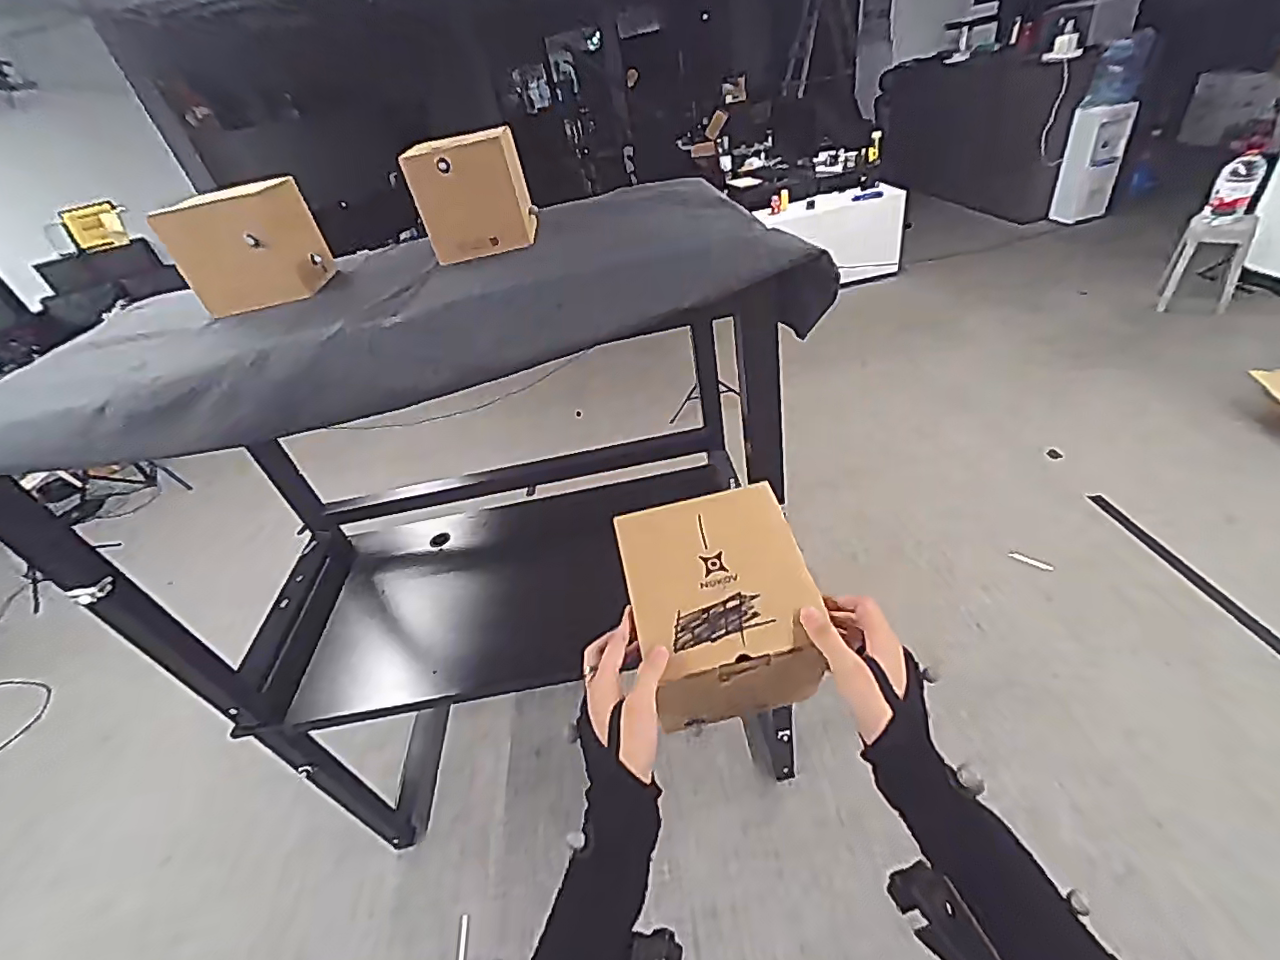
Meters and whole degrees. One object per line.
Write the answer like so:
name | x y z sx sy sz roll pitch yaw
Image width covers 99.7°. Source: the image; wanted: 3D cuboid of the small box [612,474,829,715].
small box | 0.075 0.126 0.560 0.168 0.176 0.179 -13 50 -2

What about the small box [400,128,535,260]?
small box | -0.289 -0.504 0.953 0.168 0.176 0.179 -12 36 2
